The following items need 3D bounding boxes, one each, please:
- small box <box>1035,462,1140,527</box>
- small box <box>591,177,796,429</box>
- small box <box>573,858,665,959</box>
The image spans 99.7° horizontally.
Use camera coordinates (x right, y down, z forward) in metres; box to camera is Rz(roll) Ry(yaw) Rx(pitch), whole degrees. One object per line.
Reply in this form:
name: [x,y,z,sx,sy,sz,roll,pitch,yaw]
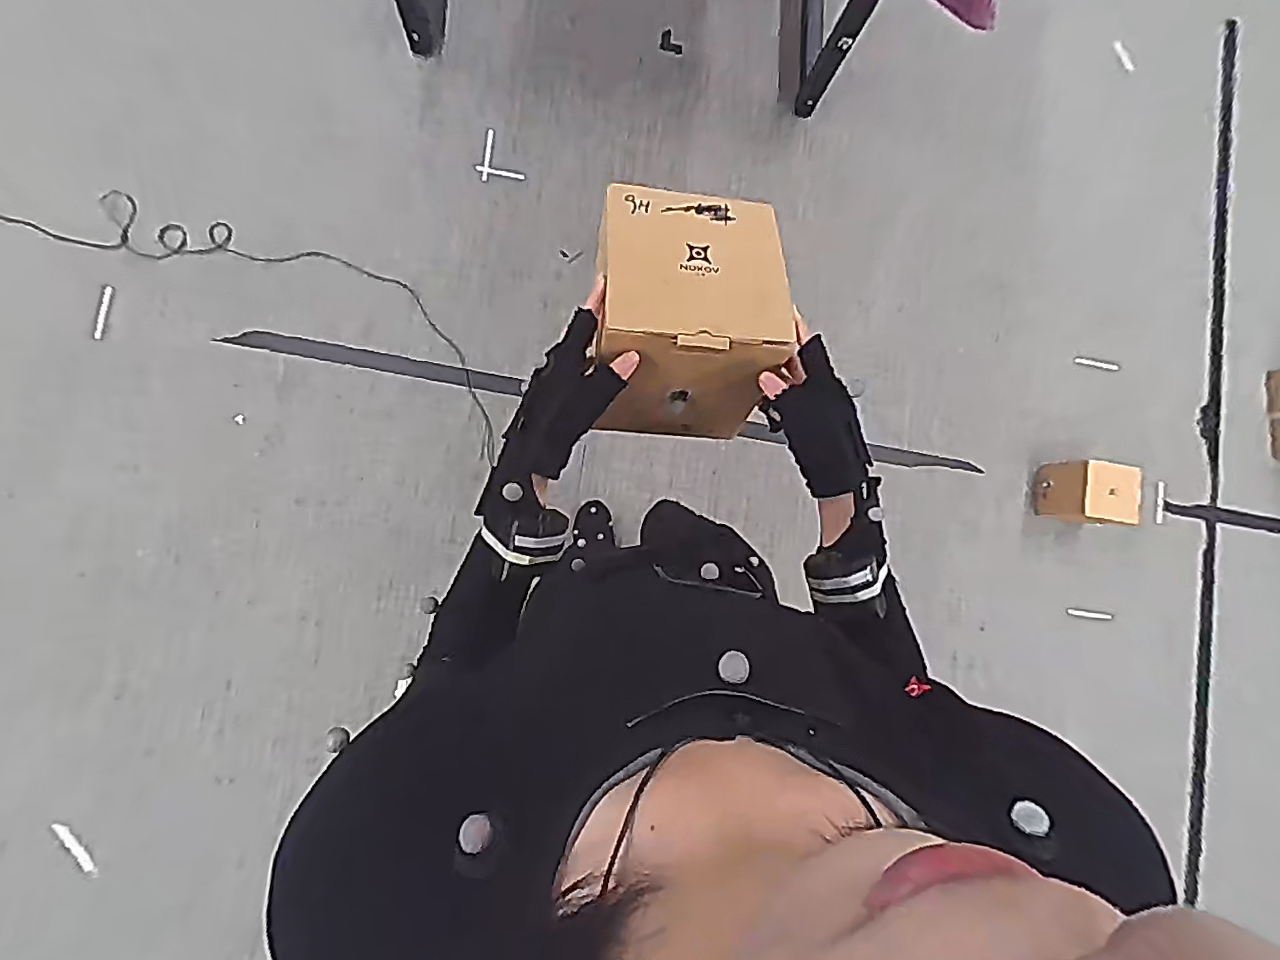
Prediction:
small box: [1.339,0.047,1.624,0.179,0.176,0.168,9,84,-6]
small box: [0.040,-0.167,0.553,0.168,0.176,0.179,3,66,-9]
small box: [-0.057,1.124,1.376,0.168,0.176,0.179,-31,90,-9]
